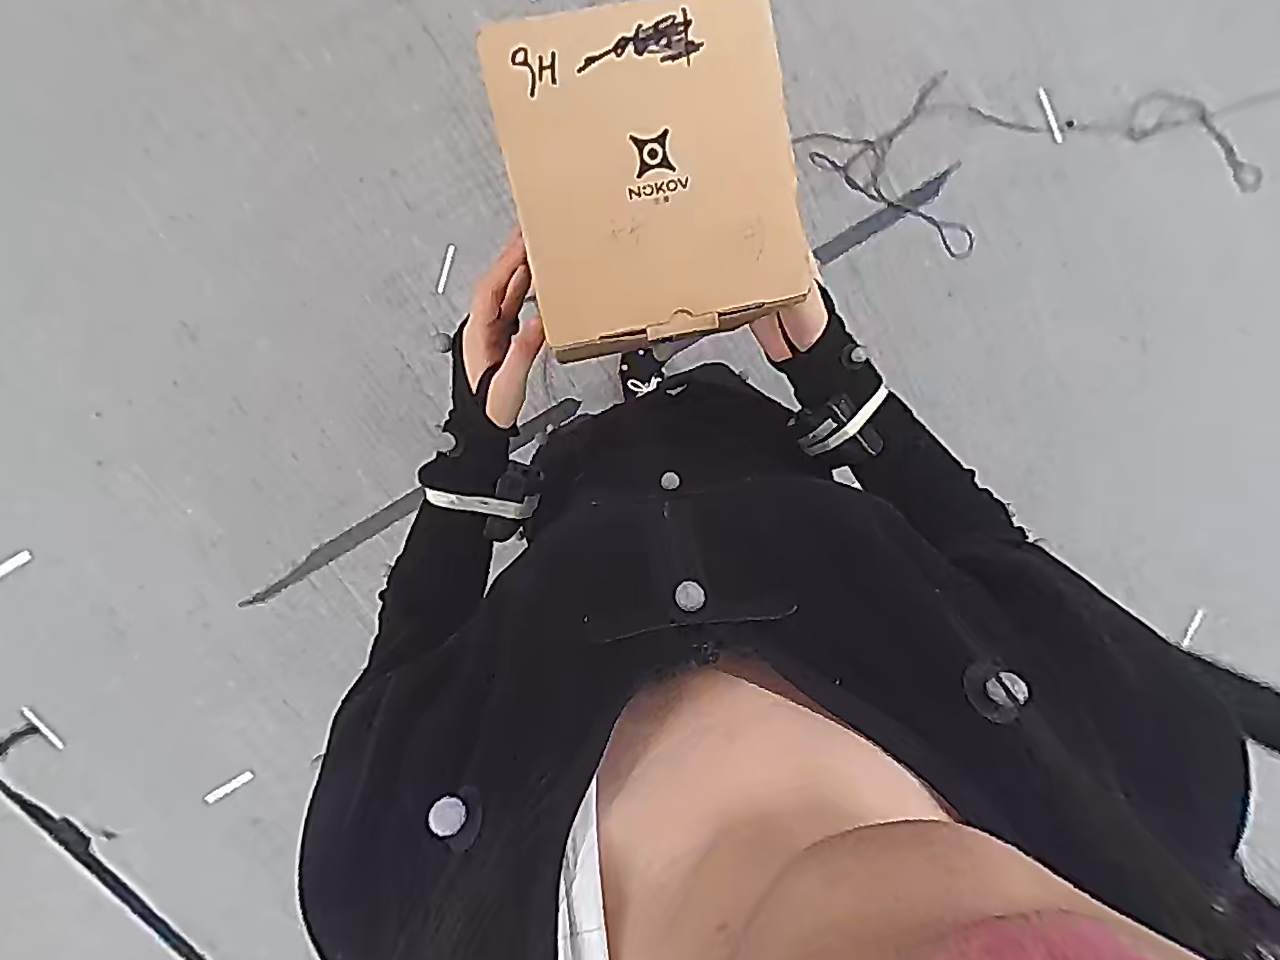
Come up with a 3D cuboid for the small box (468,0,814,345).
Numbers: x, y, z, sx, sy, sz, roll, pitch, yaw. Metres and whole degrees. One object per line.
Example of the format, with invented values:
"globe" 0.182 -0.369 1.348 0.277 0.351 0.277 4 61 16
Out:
"small box" -0.002 -0.195 0.375 0.168 0.176 0.179 -14 101 -5
